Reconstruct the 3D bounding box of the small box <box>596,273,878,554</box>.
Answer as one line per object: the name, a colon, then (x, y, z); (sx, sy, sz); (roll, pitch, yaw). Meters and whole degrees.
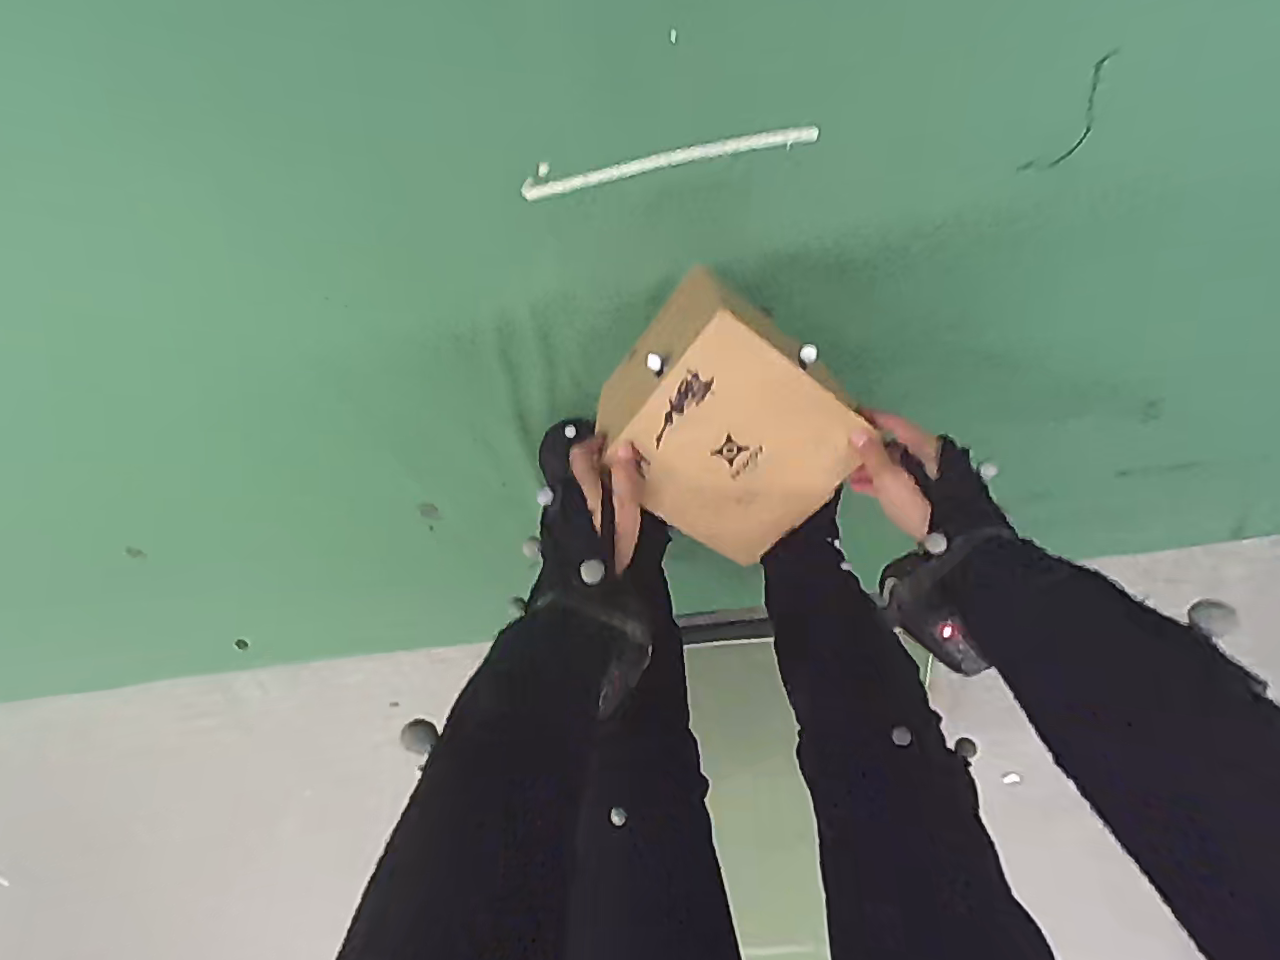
small box: (0.078, -0.069, 0.510); (0.179, 0.176, 0.168); (31, 116, -19)
